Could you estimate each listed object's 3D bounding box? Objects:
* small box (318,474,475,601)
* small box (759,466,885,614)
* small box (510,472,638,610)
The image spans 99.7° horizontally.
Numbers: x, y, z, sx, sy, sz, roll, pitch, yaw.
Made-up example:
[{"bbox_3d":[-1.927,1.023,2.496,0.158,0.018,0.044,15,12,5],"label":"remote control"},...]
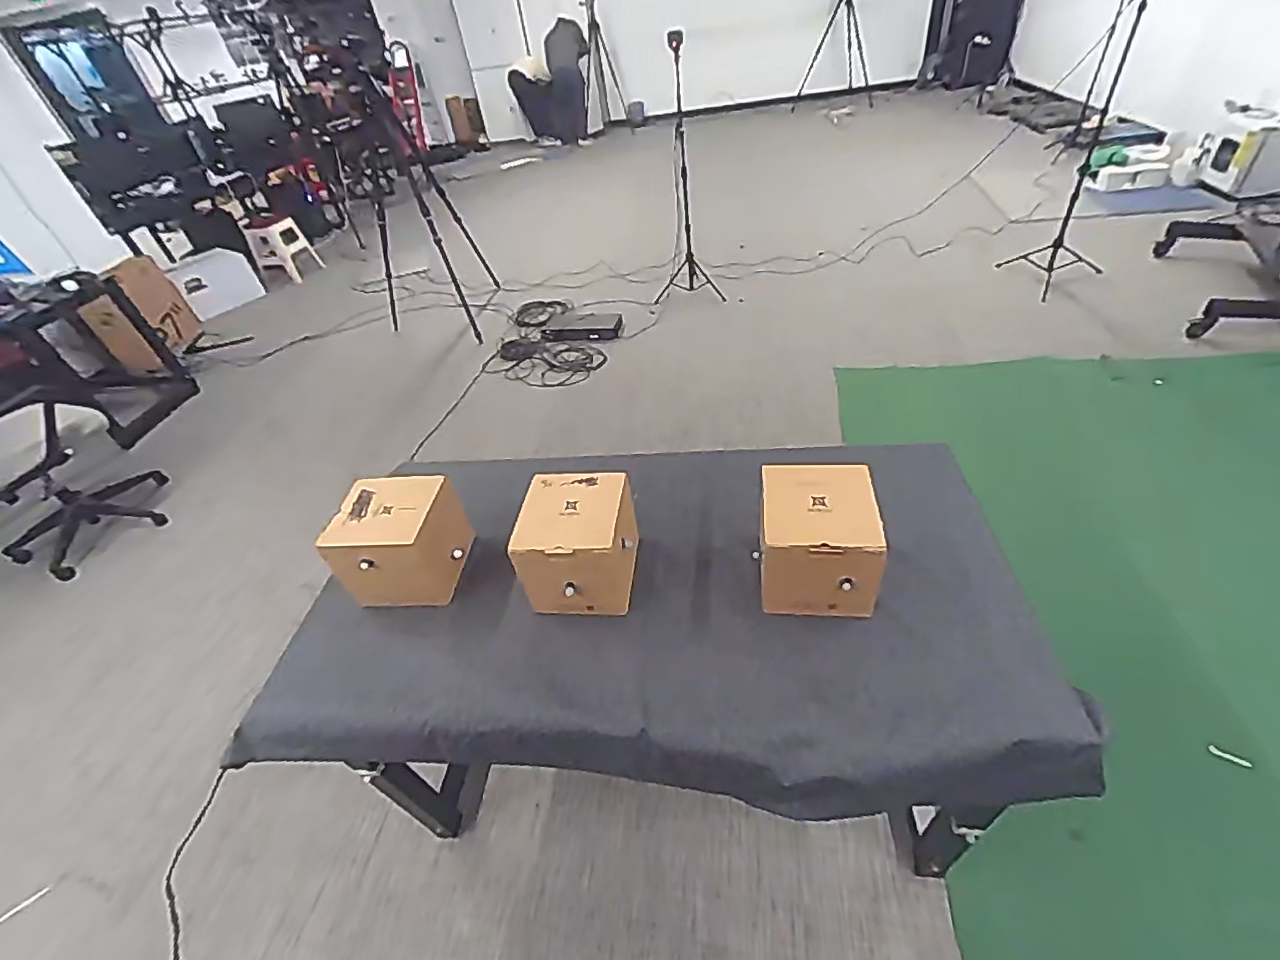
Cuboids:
[{"bbox_3d":[-0.427,0.106,0.982,0.179,0.176,0.168,-2,43,7],"label":"small box"},{"bbox_3d":[0.278,0.096,0.866,0.168,0.176,0.179,1,41,10],"label":"small box"},{"bbox_3d":[-0.100,0.106,0.924,0.168,0.176,0.179,-1,43,10],"label":"small box"}]
